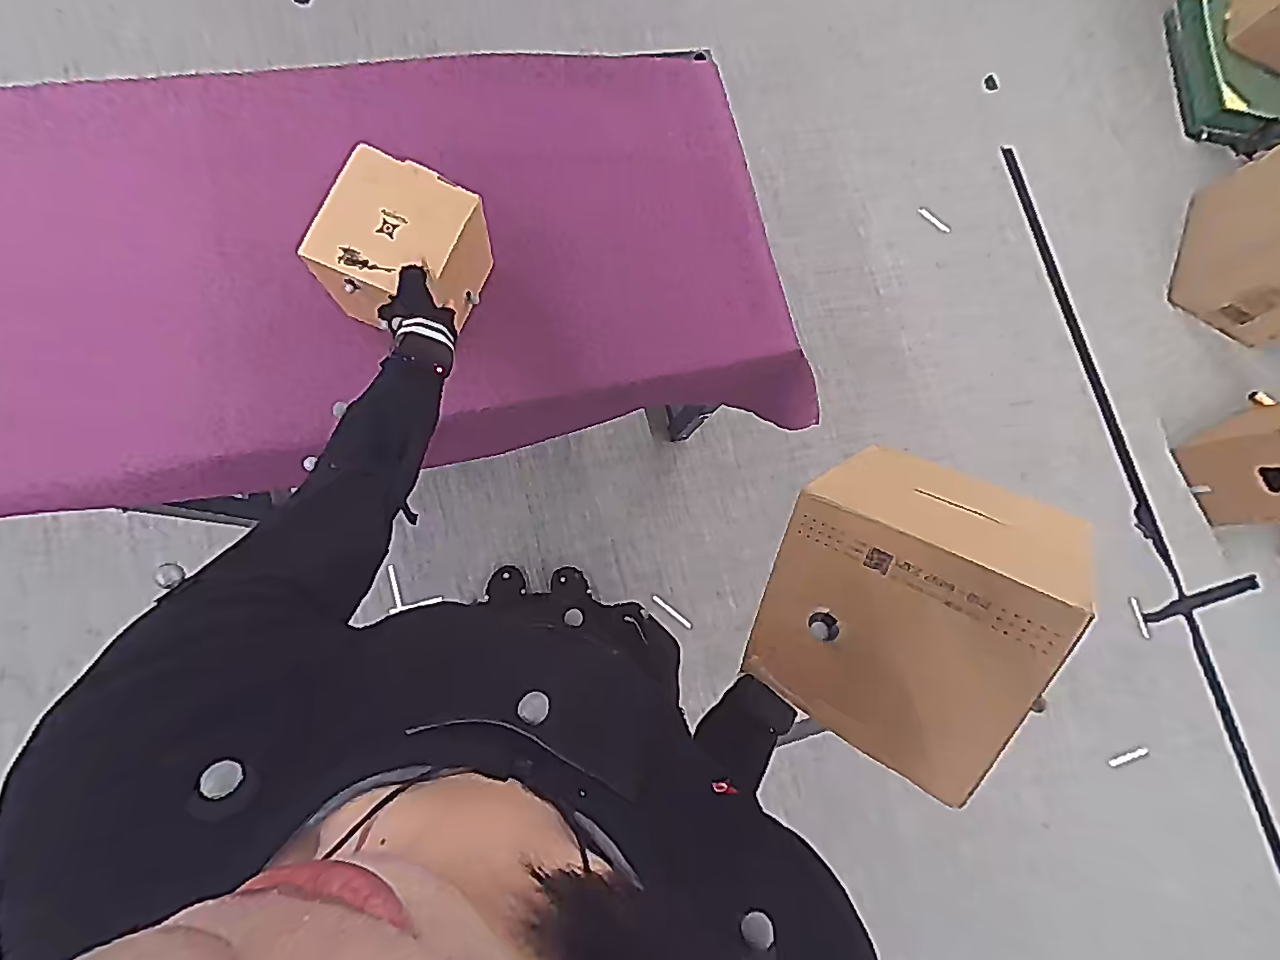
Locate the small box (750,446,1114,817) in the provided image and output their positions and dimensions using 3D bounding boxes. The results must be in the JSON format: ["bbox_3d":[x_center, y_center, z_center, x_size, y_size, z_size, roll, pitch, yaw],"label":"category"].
[{"bbox_3d":[0.210,0.086,0.403,0.168,0.176,0.179,28,30,30],"label":"small box"}]

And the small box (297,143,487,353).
[{"bbox_3d":[-0.325,-0.310,0.756,0.168,0.176,0.179,22,78,-5],"label":"small box"}]
